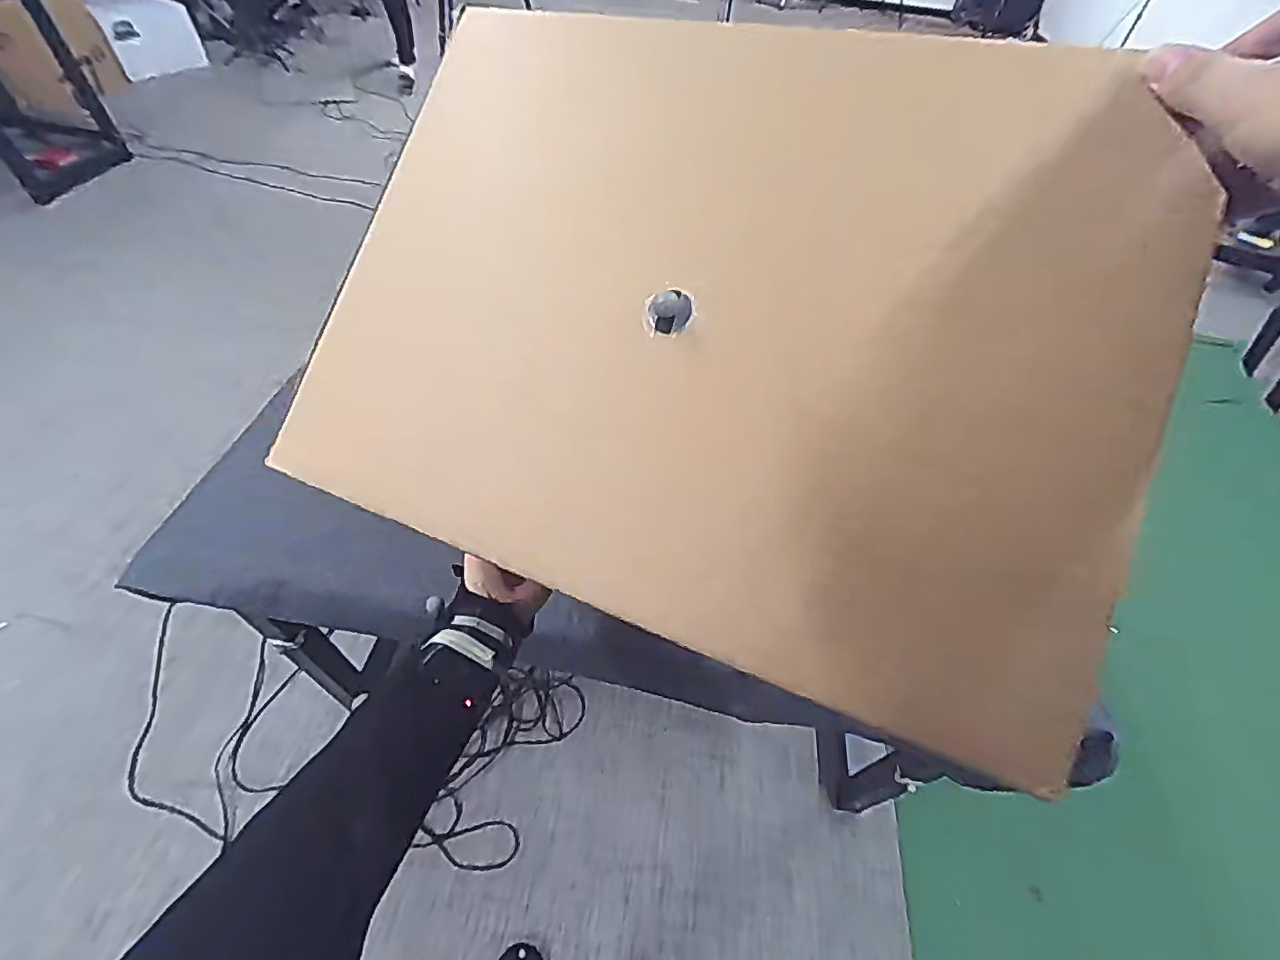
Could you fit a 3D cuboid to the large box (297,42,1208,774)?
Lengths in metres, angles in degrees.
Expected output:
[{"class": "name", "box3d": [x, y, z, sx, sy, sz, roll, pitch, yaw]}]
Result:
[{"class": "large box", "box3d": [0.057, -0.050, 0.417, 0.408, 0.320, 0.320, 17, 83, 16]}]
